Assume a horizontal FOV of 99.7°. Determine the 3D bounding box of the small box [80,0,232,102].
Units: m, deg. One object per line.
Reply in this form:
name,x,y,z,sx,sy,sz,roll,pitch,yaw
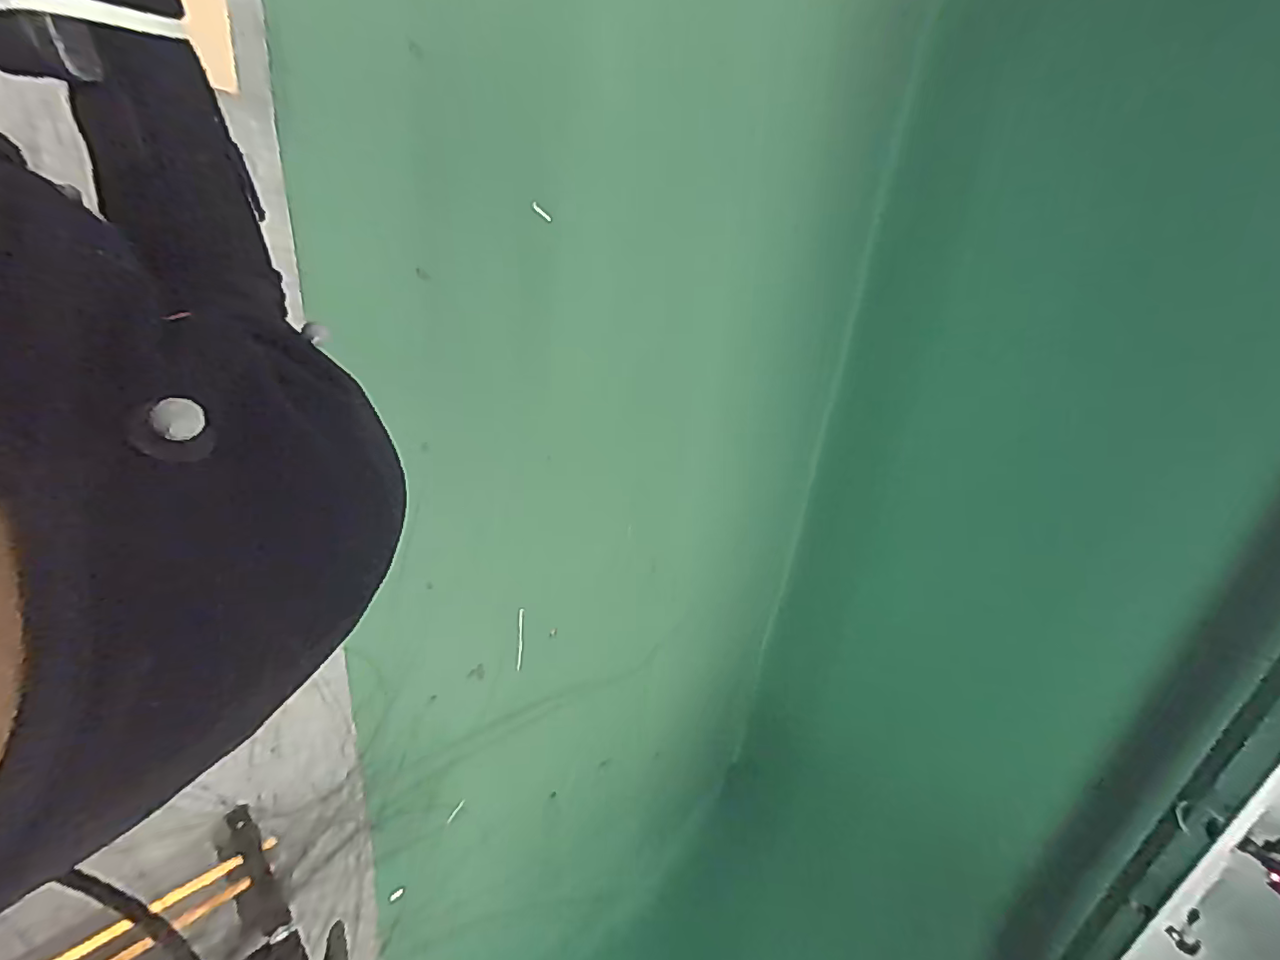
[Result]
small box,-0.828,-0.773,0.923,0.168,0.176,0.179,-16,121,-46
